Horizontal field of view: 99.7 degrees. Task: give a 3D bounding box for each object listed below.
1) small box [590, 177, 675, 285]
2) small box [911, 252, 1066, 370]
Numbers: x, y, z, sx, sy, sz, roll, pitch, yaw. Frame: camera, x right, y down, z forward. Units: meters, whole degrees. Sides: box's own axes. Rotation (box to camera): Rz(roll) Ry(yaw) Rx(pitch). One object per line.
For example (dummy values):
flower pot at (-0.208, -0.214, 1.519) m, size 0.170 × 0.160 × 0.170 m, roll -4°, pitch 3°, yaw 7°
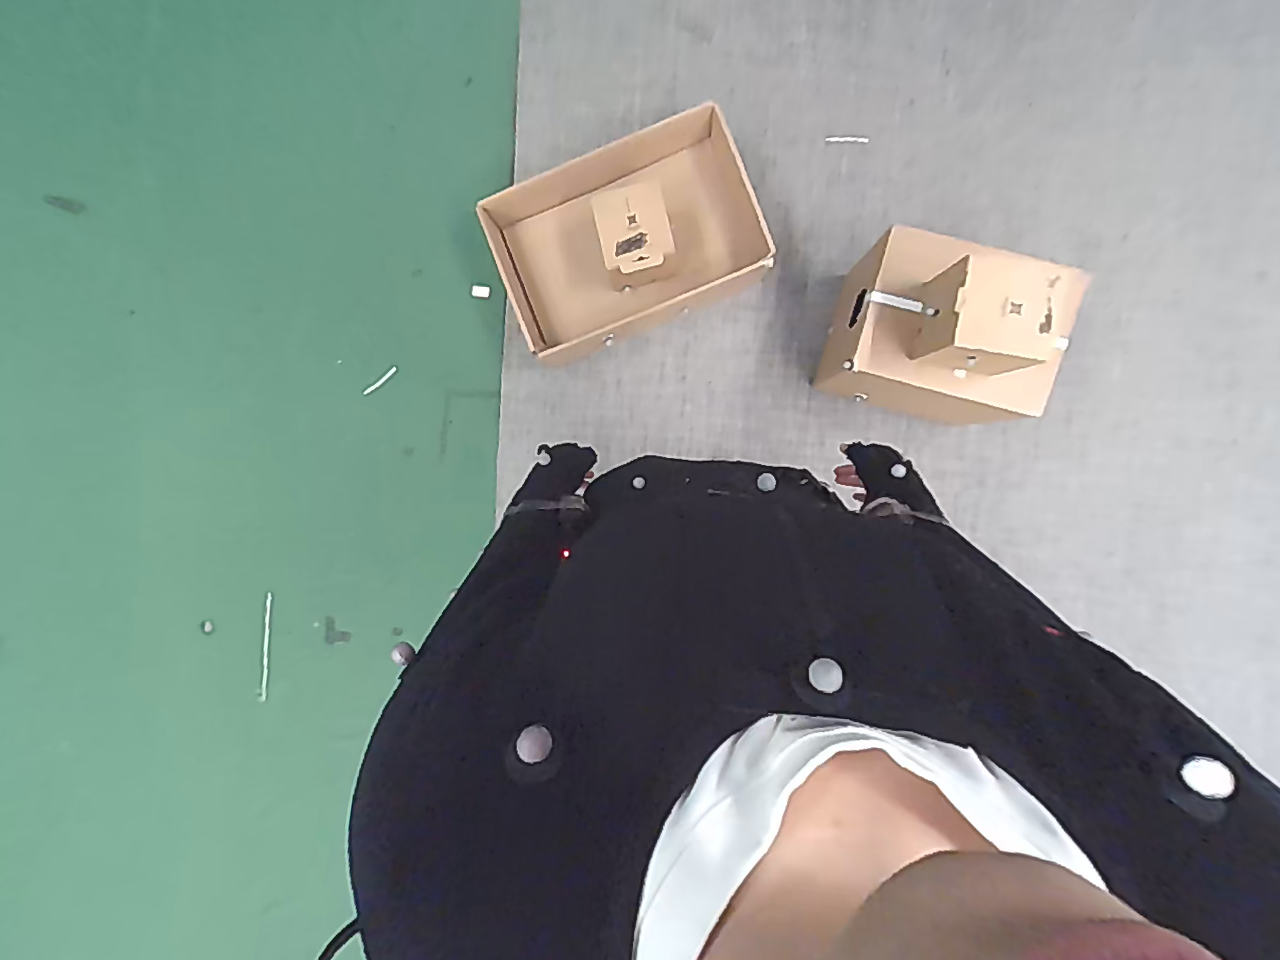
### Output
small box at (-0.012, -0.593, 1.319) m, size 0.168 × 0.176 × 0.179 m, roll -13°, pitch 90°, yaw 5°
small box at (0.646, -0.311, 1.026) m, size 0.179 × 0.176 × 0.168 m, roll 10°, pitch 94°, yaw 4°
